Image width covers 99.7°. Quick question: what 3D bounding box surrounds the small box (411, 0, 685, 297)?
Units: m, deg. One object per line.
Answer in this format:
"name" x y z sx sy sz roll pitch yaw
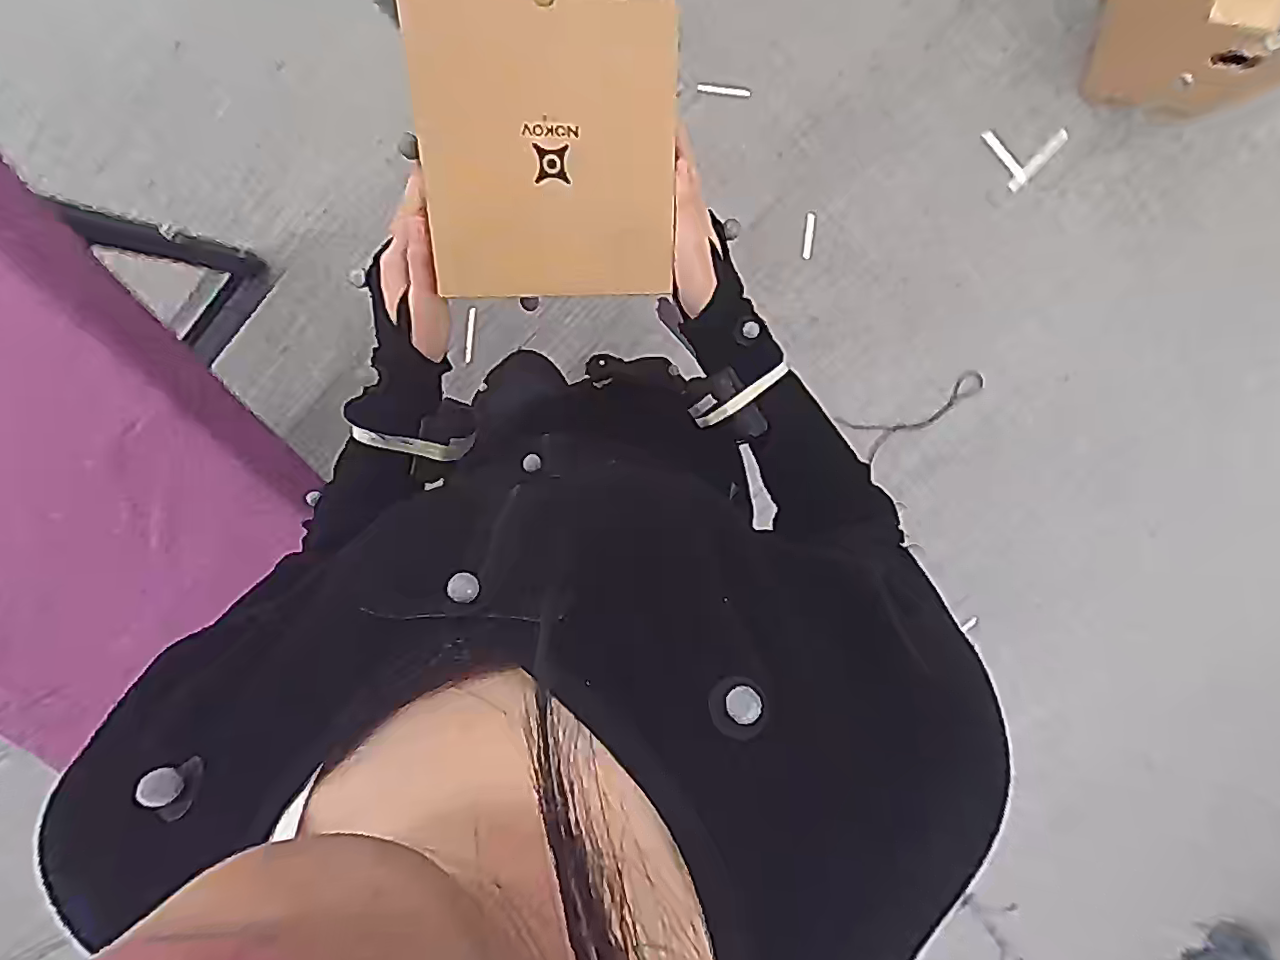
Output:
"small box" -0.067 -0.242 0.425 0.168 0.176 0.179 -4 112 -10
